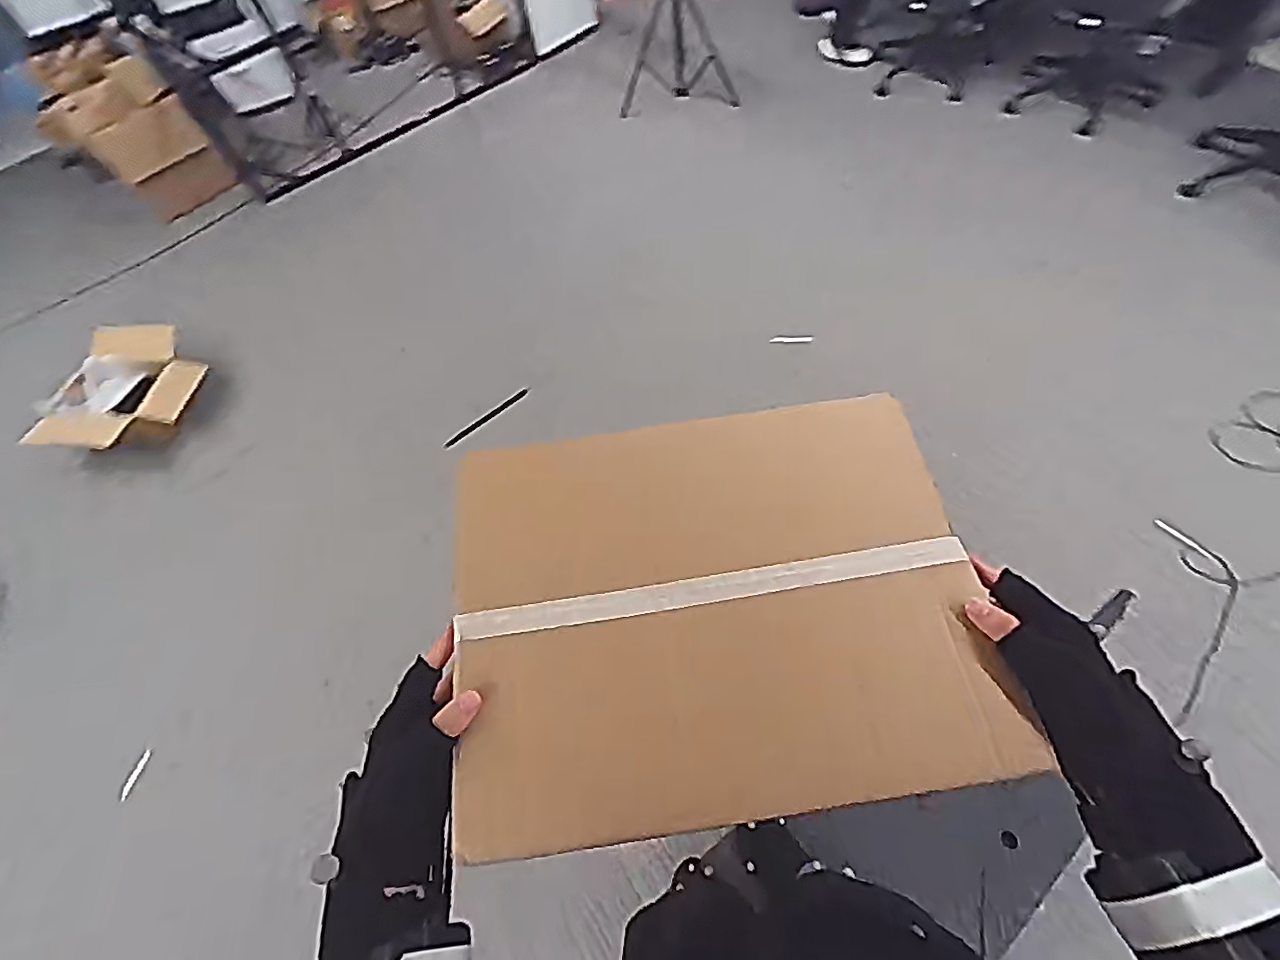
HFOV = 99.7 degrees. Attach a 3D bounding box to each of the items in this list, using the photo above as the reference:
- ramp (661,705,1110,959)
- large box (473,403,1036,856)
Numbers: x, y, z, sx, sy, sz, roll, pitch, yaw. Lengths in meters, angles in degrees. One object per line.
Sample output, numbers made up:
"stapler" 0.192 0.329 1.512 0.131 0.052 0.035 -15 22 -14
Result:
"ramp" 0.577 0.816 1.220 0.991 0.206 0.509 -38 59 -13
"large box" 0.072 0.157 0.571 0.408 0.320 0.320 -8 62 0
